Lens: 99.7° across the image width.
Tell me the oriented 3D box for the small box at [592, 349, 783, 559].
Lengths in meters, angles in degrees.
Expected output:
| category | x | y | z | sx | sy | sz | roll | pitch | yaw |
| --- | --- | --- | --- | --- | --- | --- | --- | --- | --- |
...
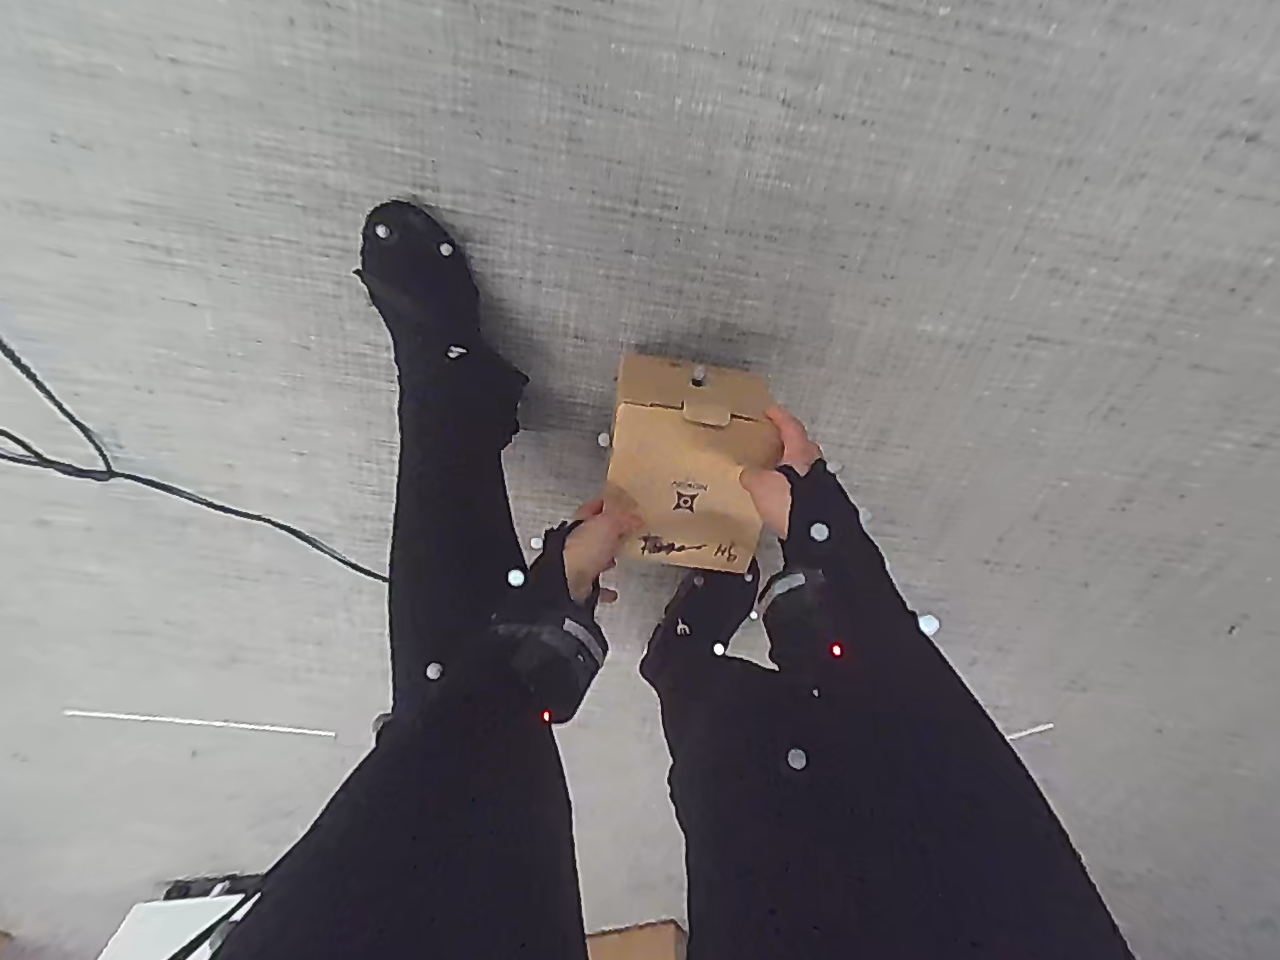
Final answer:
| category | x | y | z | sx | sy | sz | roll | pitch | yaw |
| --- | --- | --- | --- | --- | --- | --- | --- | --- | --- |
| small box | 0.040 | -0.038 | 0.607 | 0.168 | 0.176 | 0.179 | 8 | 117 | -4 |
